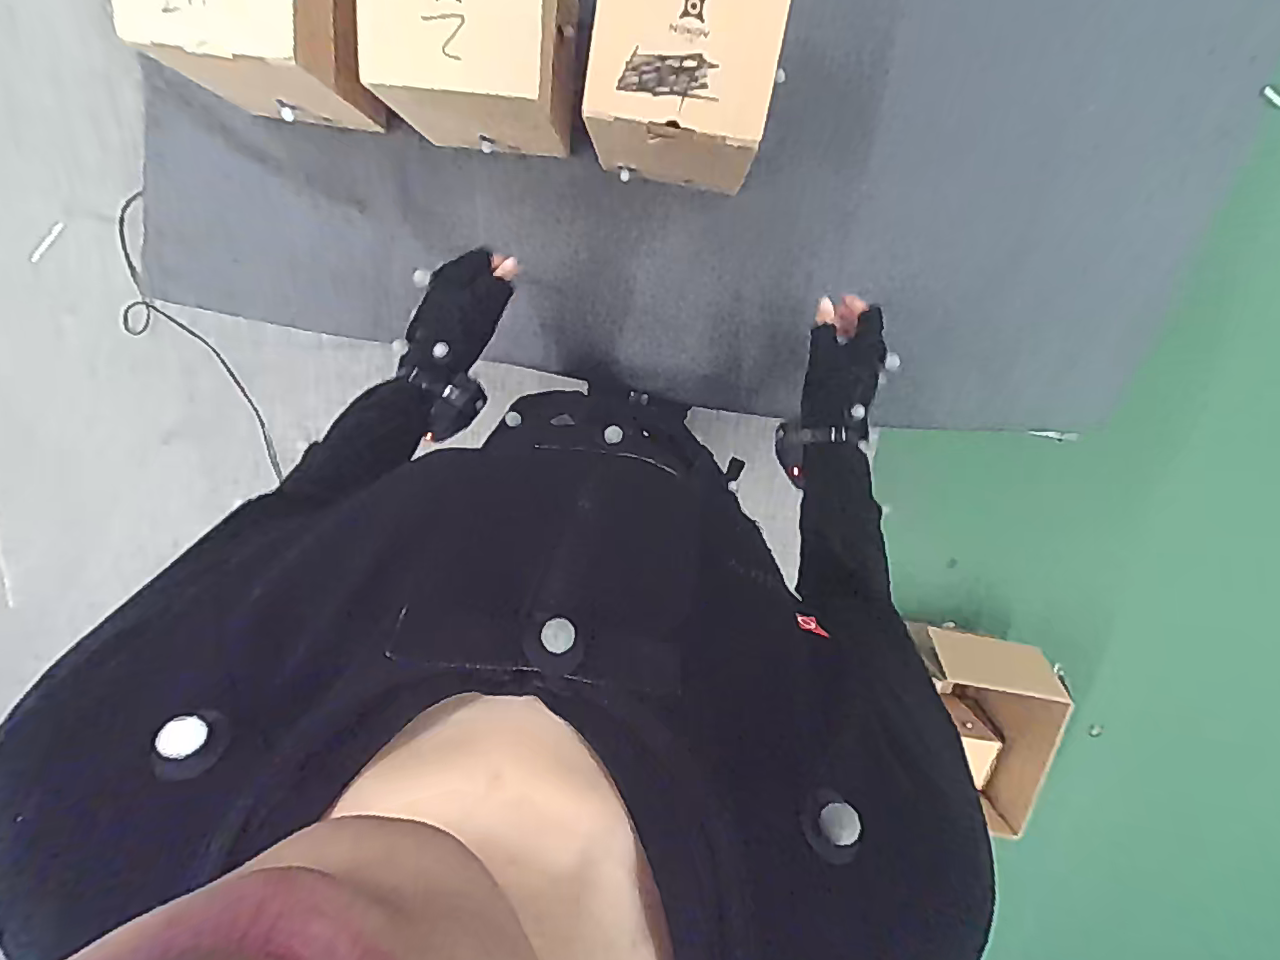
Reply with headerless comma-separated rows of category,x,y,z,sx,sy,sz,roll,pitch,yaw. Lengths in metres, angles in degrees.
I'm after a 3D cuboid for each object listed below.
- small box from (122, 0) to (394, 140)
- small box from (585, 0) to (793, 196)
small box,-0.370,-0.483,0.549,0.168,0.176,0.179,8,104,0
small box,0.049,-0.412,0.550,0.168,0.176,0.179,11,103,0
